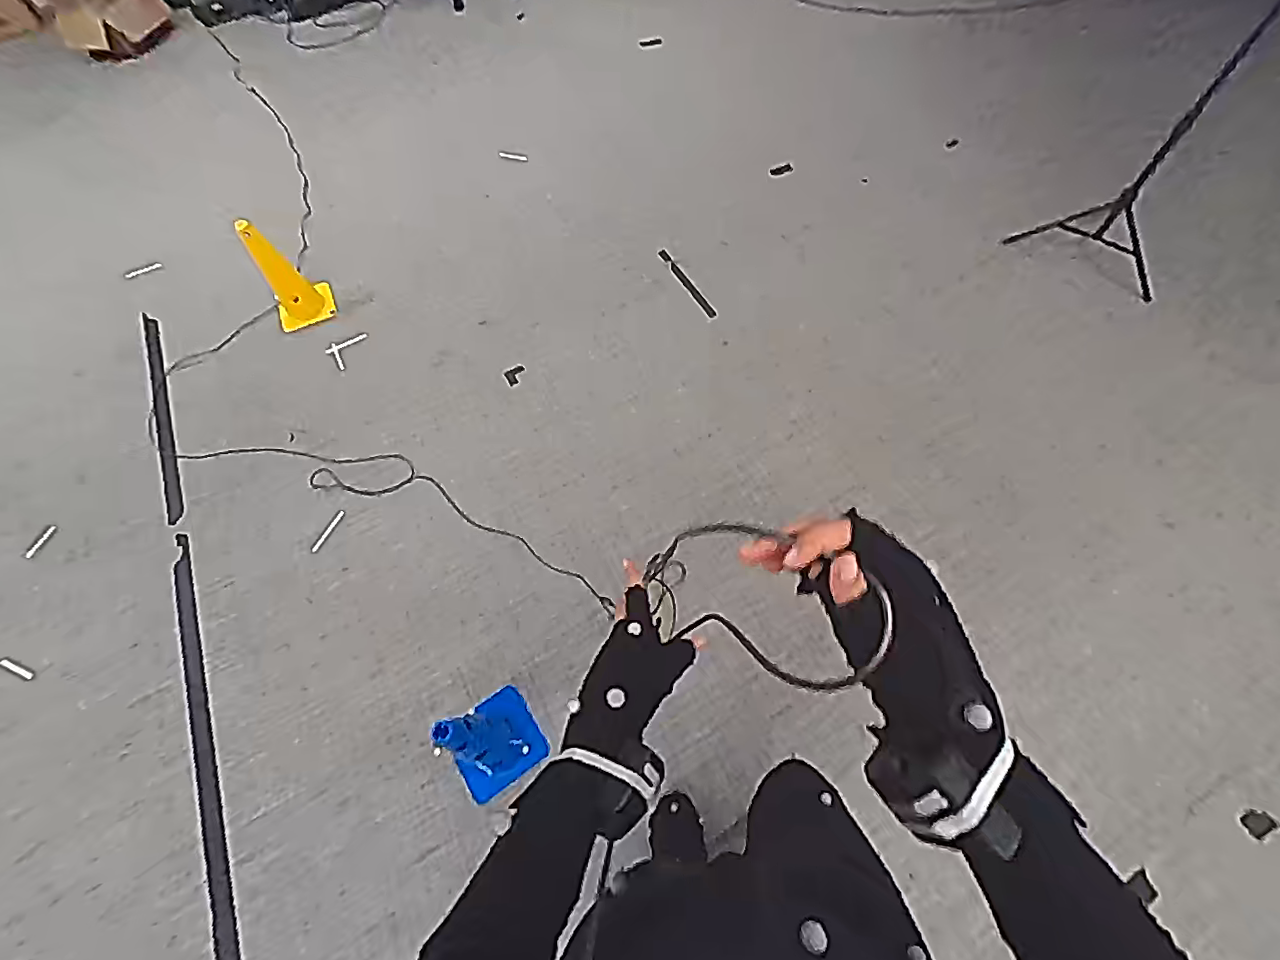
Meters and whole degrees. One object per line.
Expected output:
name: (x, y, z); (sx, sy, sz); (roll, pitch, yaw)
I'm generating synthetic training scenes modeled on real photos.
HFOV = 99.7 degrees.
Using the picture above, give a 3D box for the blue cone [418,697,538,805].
blue cone: (-0.365, 0.564, 1.147); (0.192, 0.380, 0.193); (-33, 64, -13)
